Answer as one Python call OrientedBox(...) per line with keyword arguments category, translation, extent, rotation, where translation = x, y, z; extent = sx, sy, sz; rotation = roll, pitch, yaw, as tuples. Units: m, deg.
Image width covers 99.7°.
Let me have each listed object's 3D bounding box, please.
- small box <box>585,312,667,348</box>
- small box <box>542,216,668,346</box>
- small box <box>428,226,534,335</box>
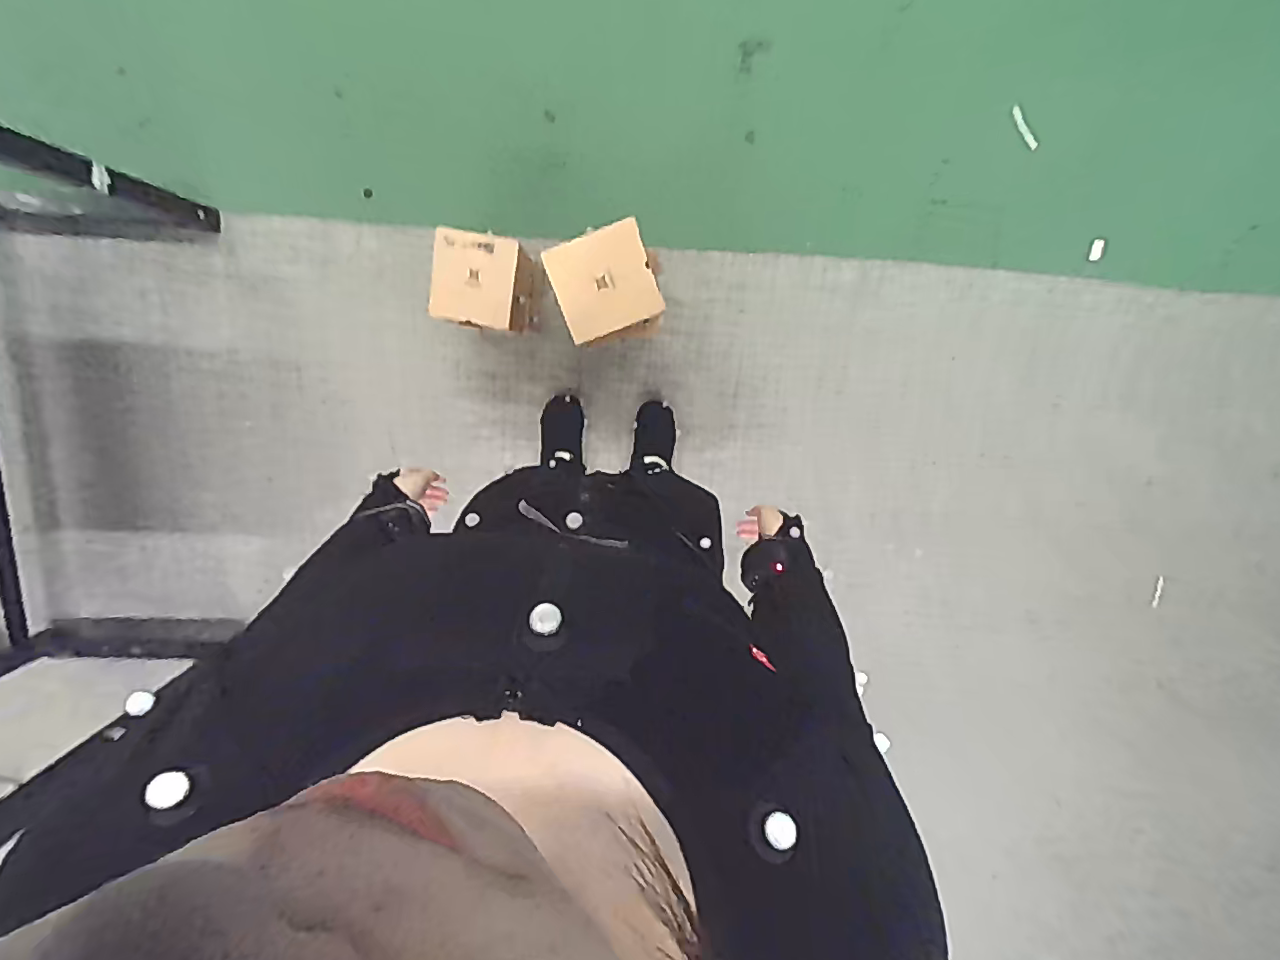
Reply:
OrientedBox(category="small box", translation=(-0.051, -0.384, 1.160), extent=(0.179, 0.176, 0.168), rotation=(-17, 104, 1))
OrientedBox(category="small box", translation=(-0.061, -0.354, 0.999), extent=(0.179, 0.176, 0.168), rotation=(-21, 103, 2))
OrientedBox(category="small box", translation=(-0.328, -0.409, 1.142), extent=(0.168, 0.176, 0.179), rotation=(10, 101, -3))
